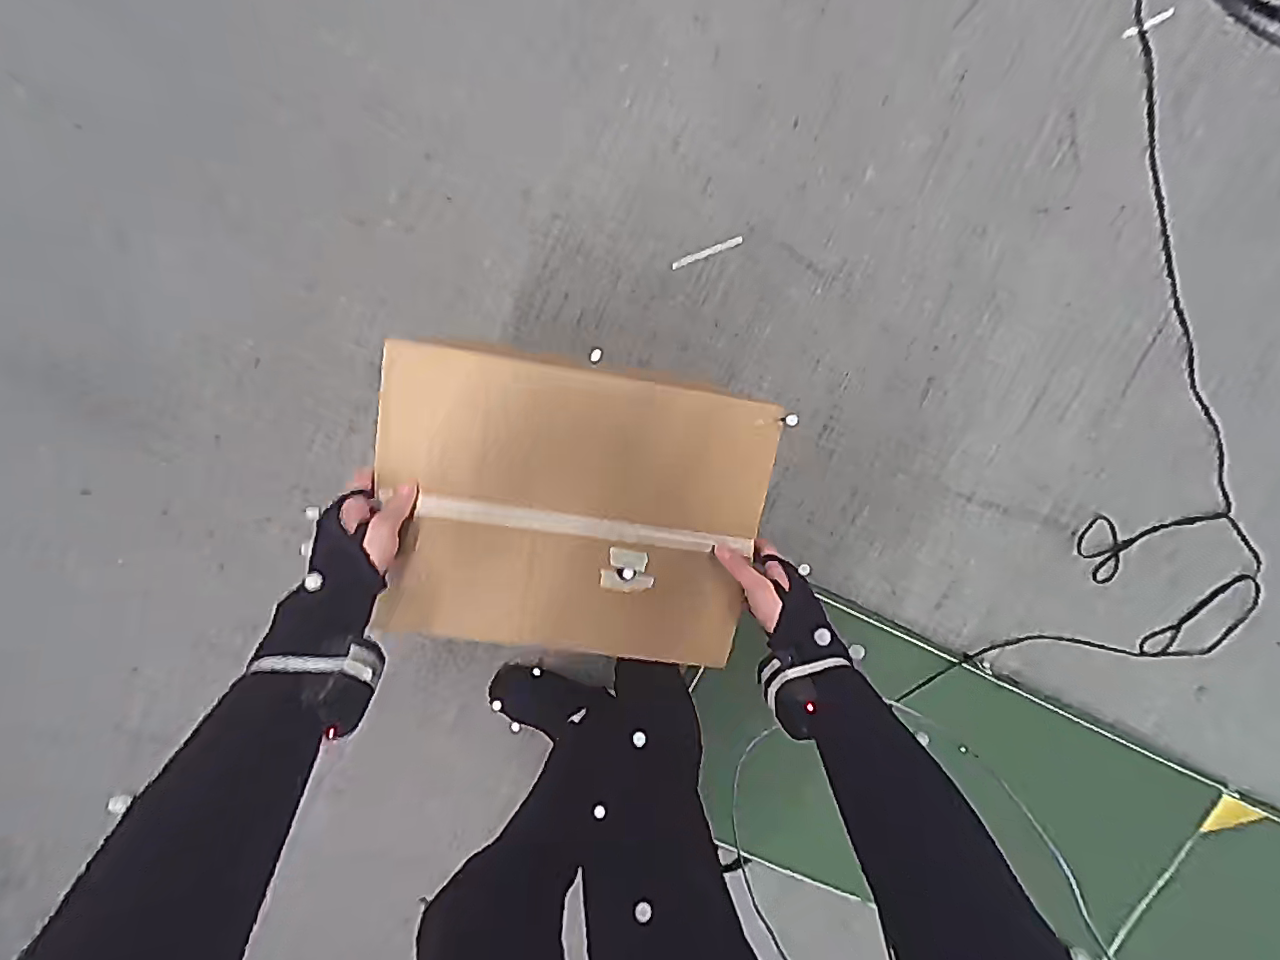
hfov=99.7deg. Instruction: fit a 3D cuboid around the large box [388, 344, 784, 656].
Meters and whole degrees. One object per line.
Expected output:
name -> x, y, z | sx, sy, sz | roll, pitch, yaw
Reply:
large box -> -0.077, 0.004, 0.738 | 0.408, 0.320, 0.320 | 9, 104, -7
